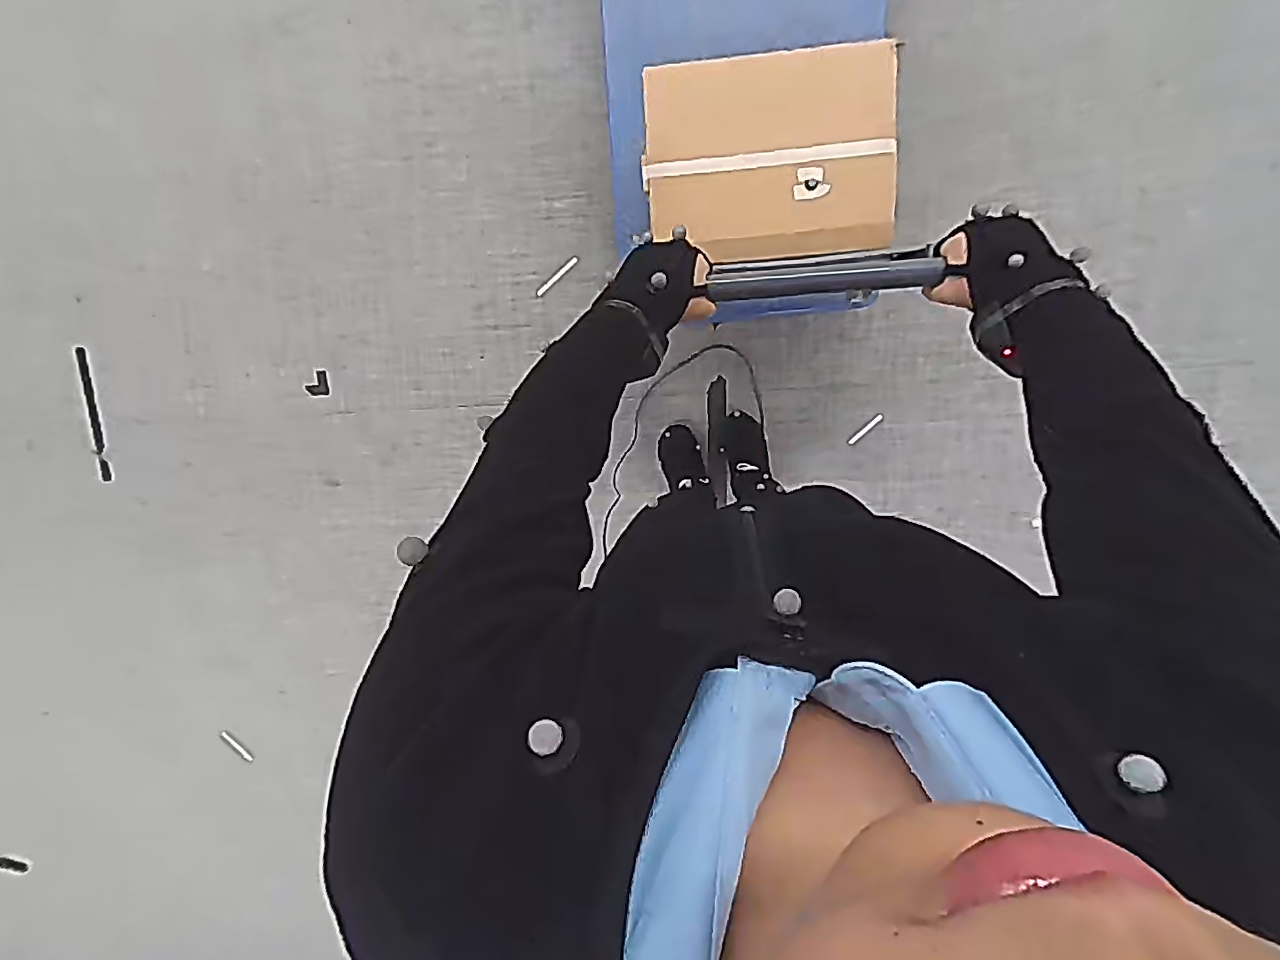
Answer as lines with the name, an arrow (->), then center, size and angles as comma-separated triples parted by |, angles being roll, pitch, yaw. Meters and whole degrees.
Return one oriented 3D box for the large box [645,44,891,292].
large box -> 0.226, -0.567, 1.057 | 0.408, 0.320, 0.320 | -3, 102, 4
